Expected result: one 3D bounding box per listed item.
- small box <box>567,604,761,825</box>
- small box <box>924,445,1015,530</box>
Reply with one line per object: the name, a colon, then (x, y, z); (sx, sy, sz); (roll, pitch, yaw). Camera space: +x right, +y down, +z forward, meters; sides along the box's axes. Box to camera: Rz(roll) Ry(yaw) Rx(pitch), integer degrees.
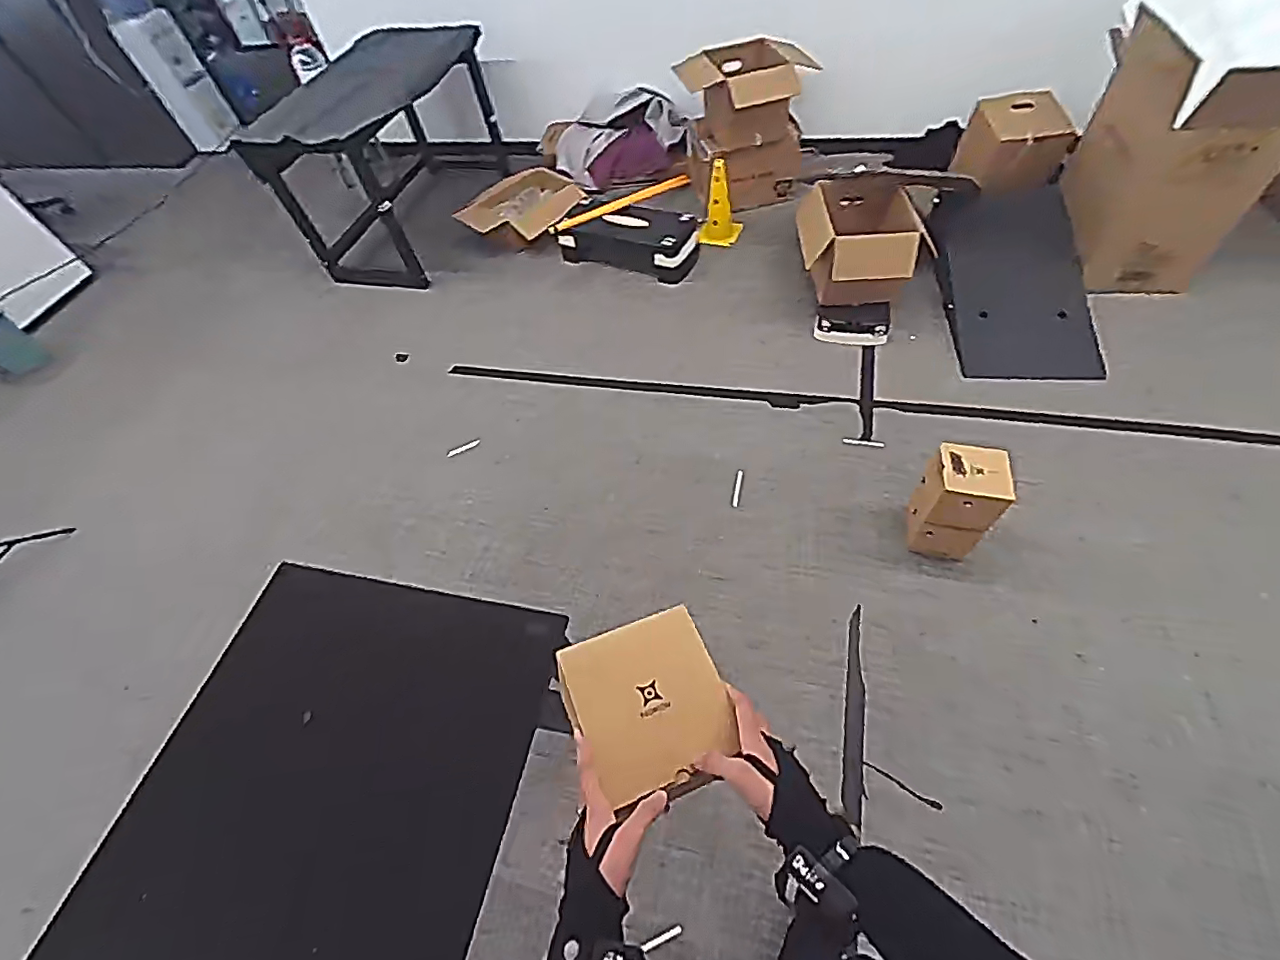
small box: (0.014, 0.282, 0.650); (0.168, 0.176, 0.179); (-16, 56, -16)
small box: (0.913, 0.025, 1.520); (0.179, 0.176, 0.168); (8, 57, 12)
